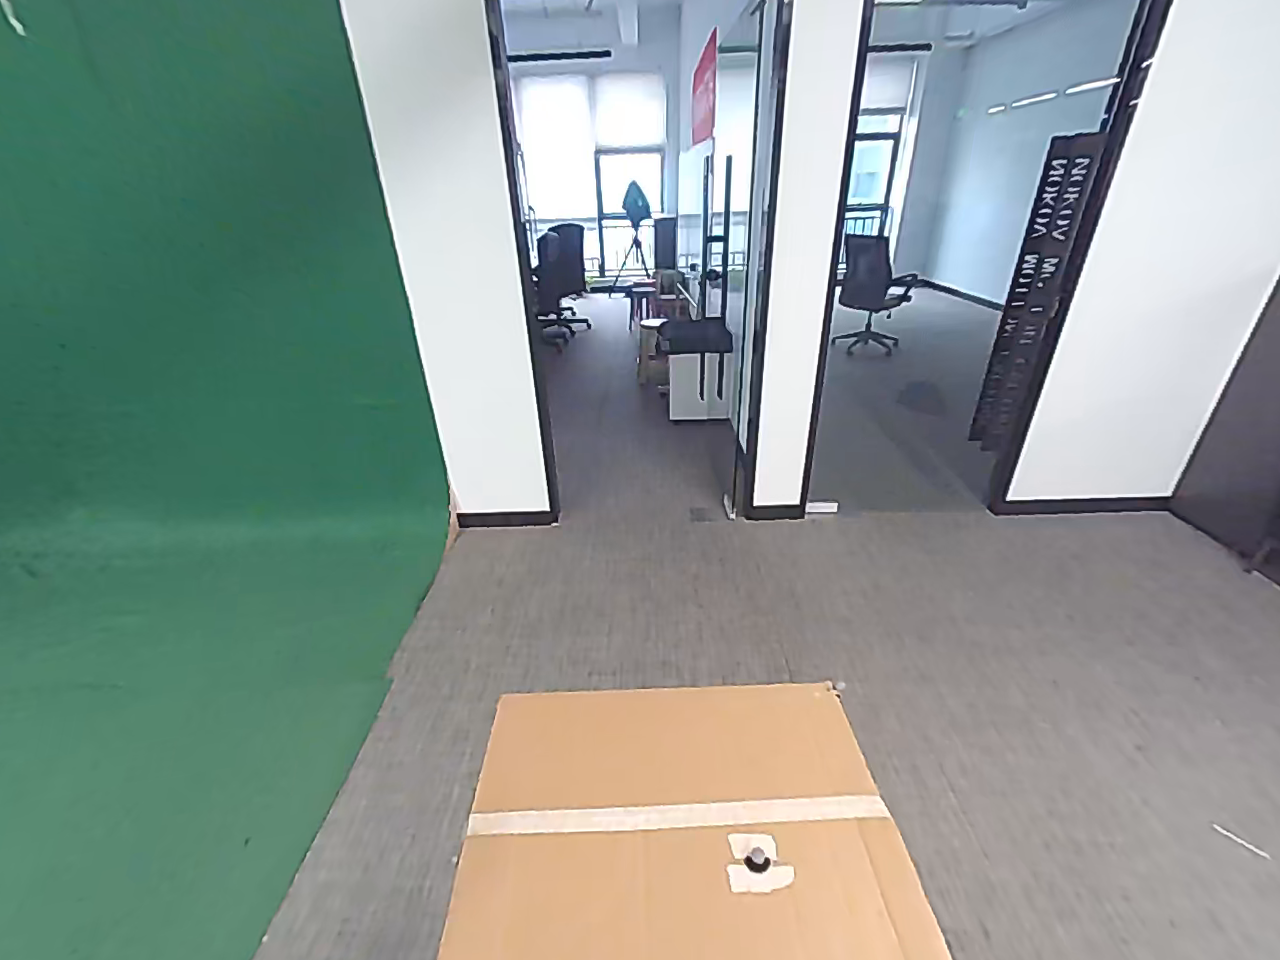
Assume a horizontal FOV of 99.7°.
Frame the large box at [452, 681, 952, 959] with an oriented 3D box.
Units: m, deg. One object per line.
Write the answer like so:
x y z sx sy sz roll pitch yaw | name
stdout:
0.043 0.458 0.599 0.408 0.320 0.320 -1 28 -1 | large box
